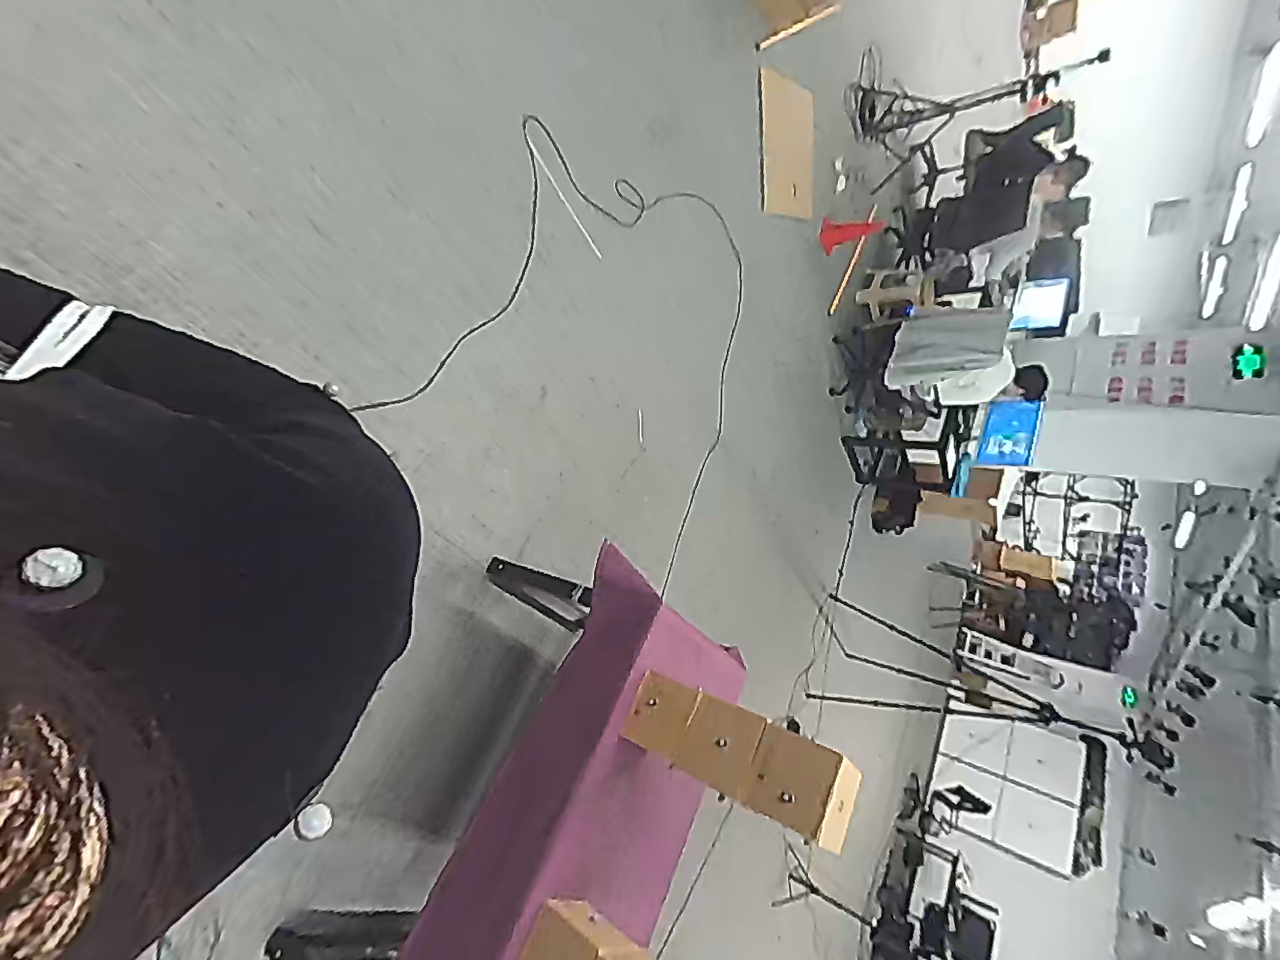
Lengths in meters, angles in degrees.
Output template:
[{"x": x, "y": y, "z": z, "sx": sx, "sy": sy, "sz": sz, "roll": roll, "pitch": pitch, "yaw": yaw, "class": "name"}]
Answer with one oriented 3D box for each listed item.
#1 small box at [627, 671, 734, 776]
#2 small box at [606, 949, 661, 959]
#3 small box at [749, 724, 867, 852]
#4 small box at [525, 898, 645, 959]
[{"x": 0.100, "y": 0.594, "z": 1.333, "sx": 0.179, "sy": 0.176, "sz": 0.168, "roll": 49, "pitch": 60, "yaw": -41, "class": "small box"}, {"x": 0.004, "y": 1.040, "z": 1.031, "sx": 0.179, "sy": 0.176, "sz": 0.168, "roll": 46, "pitch": 61, "yaw": -42, "class": "small box"}, {"x": 0.349, "y": 0.632, "z": 1.123, "sx": 0.179, "sy": 0.176, "sz": 0.168, "roll": 51, "pitch": 59, "yaw": -41, "class": "small box"}, {"x": -0.125, "y": 1.019, "z": 1.131, "sx": 0.168, "sy": 0.176, "sz": 0.179, "roll": 49, "pitch": 59, "yaw": -41, "class": "small box"}]
